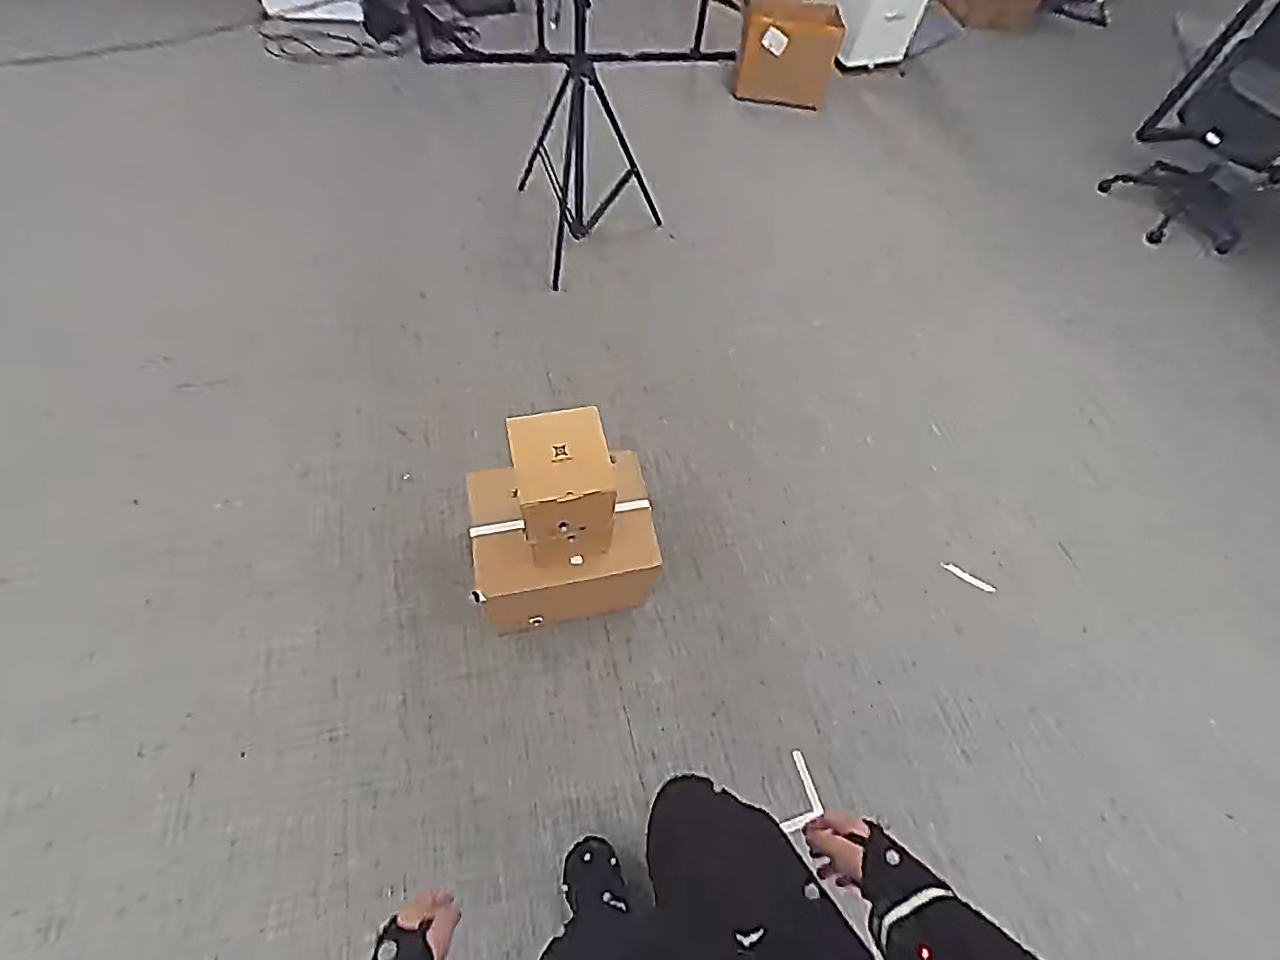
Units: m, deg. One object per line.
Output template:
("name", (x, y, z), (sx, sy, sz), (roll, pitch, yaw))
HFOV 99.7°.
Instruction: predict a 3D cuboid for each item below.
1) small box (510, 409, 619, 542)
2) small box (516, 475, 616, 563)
("small box", (-0.143, -0.005, 1.002), (0.168, 0.176, 0.179), (-10, 65, -12))
("small box", (-0.158, 0.063, 1.148), (0.179, 0.176, 0.168), (-11, 65, -13))
